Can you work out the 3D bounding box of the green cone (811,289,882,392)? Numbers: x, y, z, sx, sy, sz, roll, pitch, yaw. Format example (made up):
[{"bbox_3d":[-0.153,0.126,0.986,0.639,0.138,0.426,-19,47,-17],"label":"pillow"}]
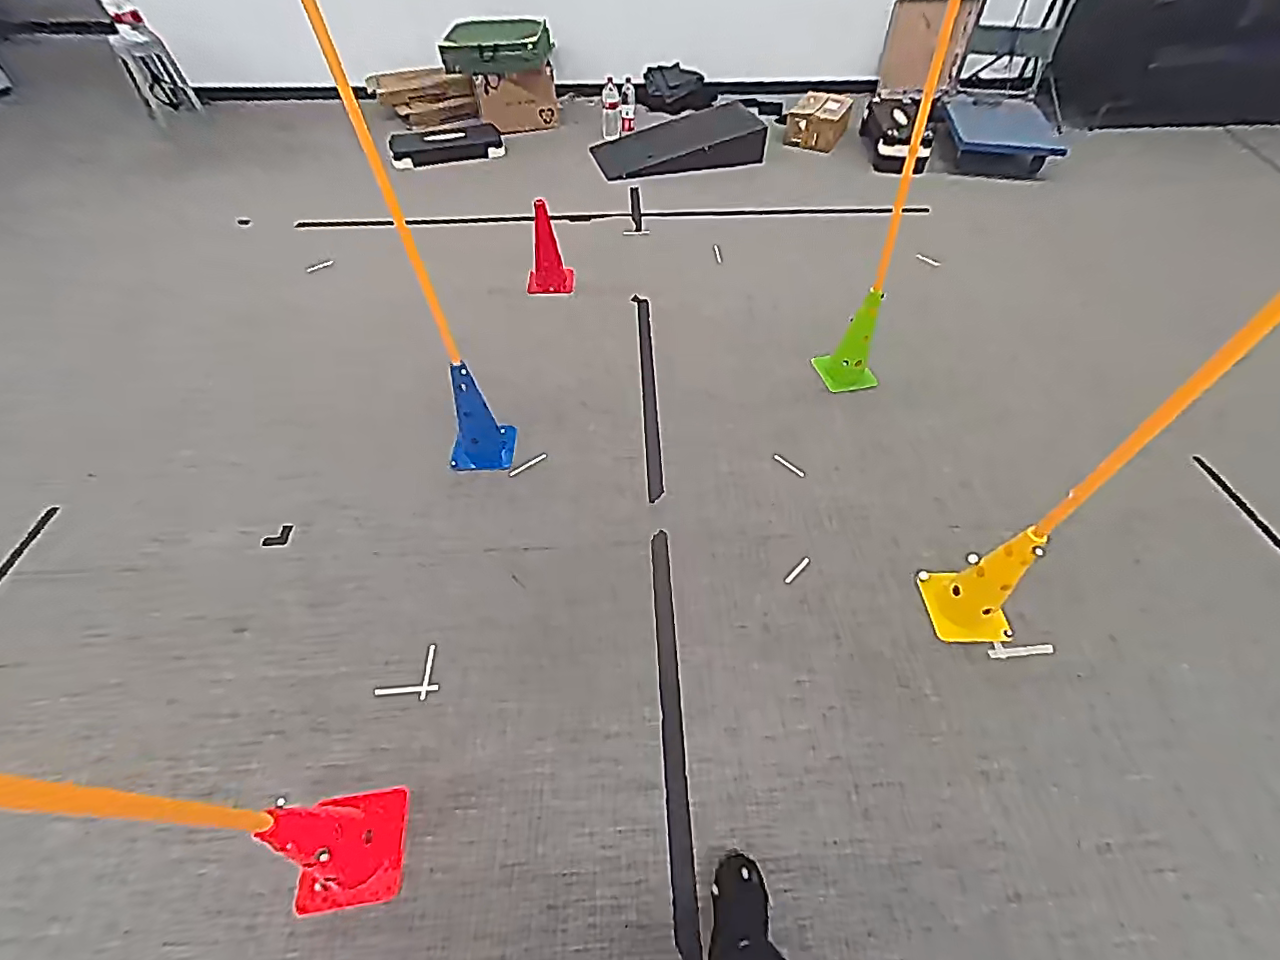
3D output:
[{"bbox_3d":[0.780,-0.520,1.940,0.200,0.368,0.202,-11,53,-8],"label":"green cone"}]

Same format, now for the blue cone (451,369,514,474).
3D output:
[{"bbox_3d":[-0.522,-0.197,1.689,0.193,0.380,0.192,0,51,0],"label":"blue cone"}]

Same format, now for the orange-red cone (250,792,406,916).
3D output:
[{"bbox_3d":[-0.585,0.650,0.973,0.199,0.360,0.198,-5,51,-6],"label":"orange-red cone"}]
